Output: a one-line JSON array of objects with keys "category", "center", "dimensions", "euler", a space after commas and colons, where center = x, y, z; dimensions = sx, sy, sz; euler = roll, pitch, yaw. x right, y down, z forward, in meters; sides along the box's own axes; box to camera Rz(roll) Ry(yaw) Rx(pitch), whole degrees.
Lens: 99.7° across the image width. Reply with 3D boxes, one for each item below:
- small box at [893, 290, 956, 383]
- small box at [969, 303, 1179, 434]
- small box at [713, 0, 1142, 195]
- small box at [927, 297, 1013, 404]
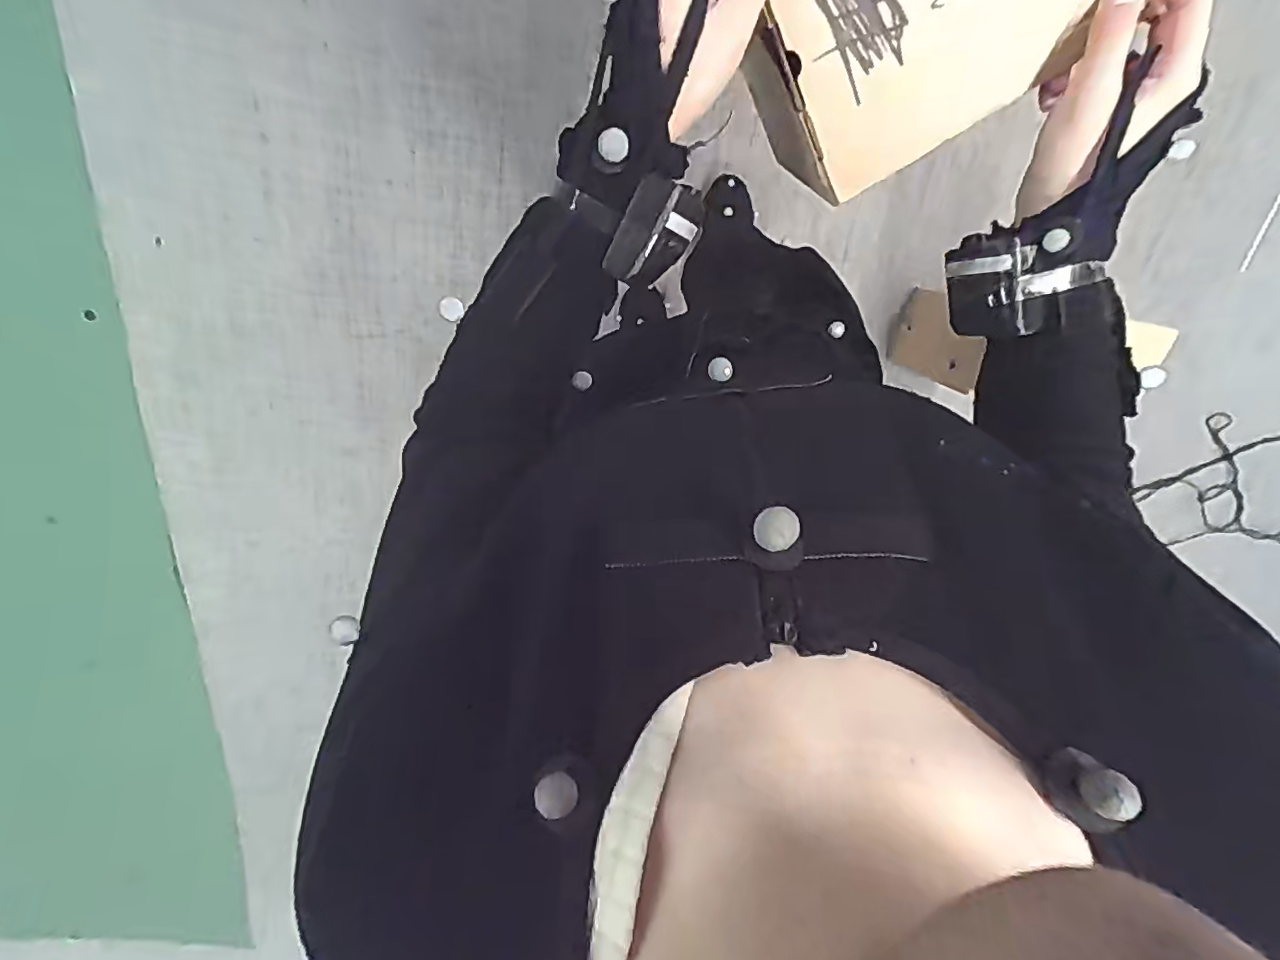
[{"category": "small box", "center": [0.697, -0.312, 1.207], "dimensions": [0.168, 0.176, 0.179], "euler": [10, 114, -6]}, {"category": "small box", "center": [0.705, -0.192, 0.902], "dimensions": [0.179, 0.176, 0.168], "euler": [9, 113, -6]}, {"category": "small box", "center": [0.146, -0.313, 0.330], "dimensions": [0.179, 0.176, 0.168], "euler": [-27, 124, 18]}, {"category": "small box", "center": [0.698, -0.251, 1.056], "dimensions": [0.168, 0.176, 0.179], "euler": [7, 112, -6]}]
